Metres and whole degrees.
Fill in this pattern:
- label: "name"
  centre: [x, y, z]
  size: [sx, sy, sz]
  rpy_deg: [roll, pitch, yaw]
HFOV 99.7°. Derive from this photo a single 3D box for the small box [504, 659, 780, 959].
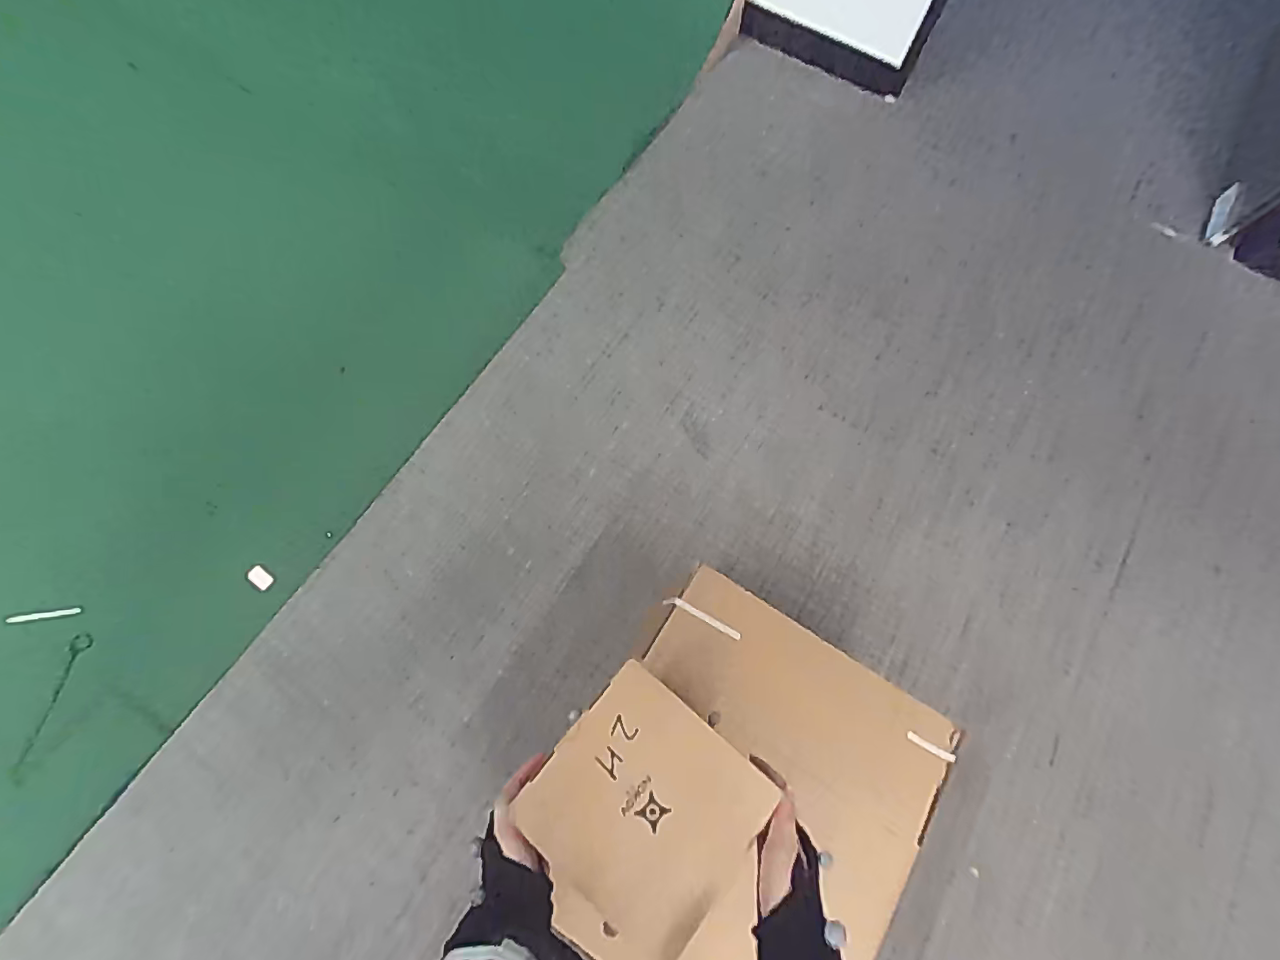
- label: "small box"
  centre: [0.001, 0.297, 0.527]
  size: [0.179, 0.176, 0.168]
  rpy_deg: [40, 73, 13]
